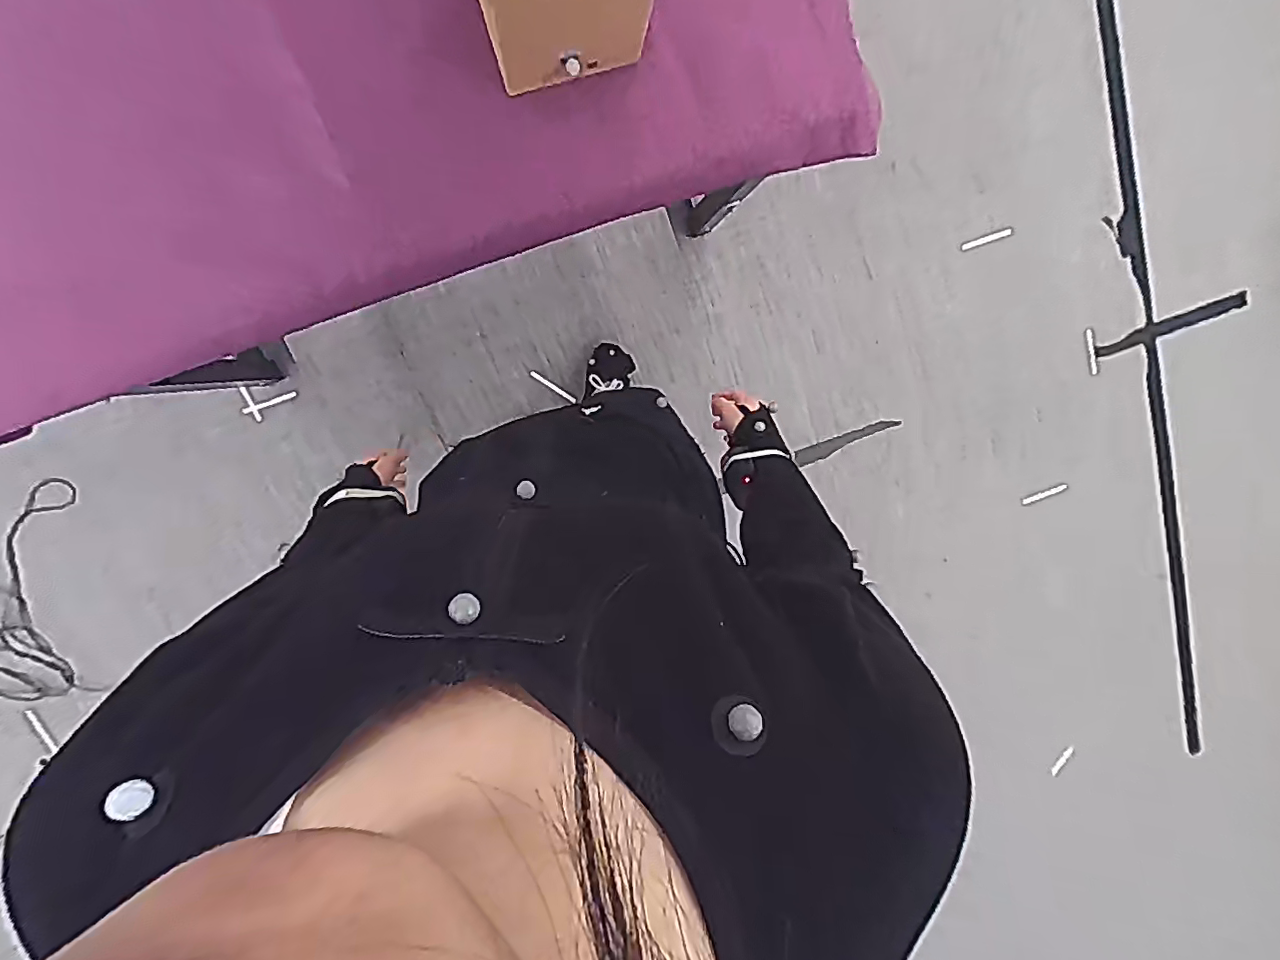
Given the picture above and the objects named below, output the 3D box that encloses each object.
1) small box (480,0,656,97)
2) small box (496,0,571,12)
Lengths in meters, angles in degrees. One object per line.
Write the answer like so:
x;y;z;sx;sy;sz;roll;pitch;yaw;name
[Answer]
-0.089;-0.541;0.553;0.168;0.176;0.179;-17;104;-4;small box
-0.066;-0.504;0.395;0.168;0.176;0.179;-15;102;-4;small box
